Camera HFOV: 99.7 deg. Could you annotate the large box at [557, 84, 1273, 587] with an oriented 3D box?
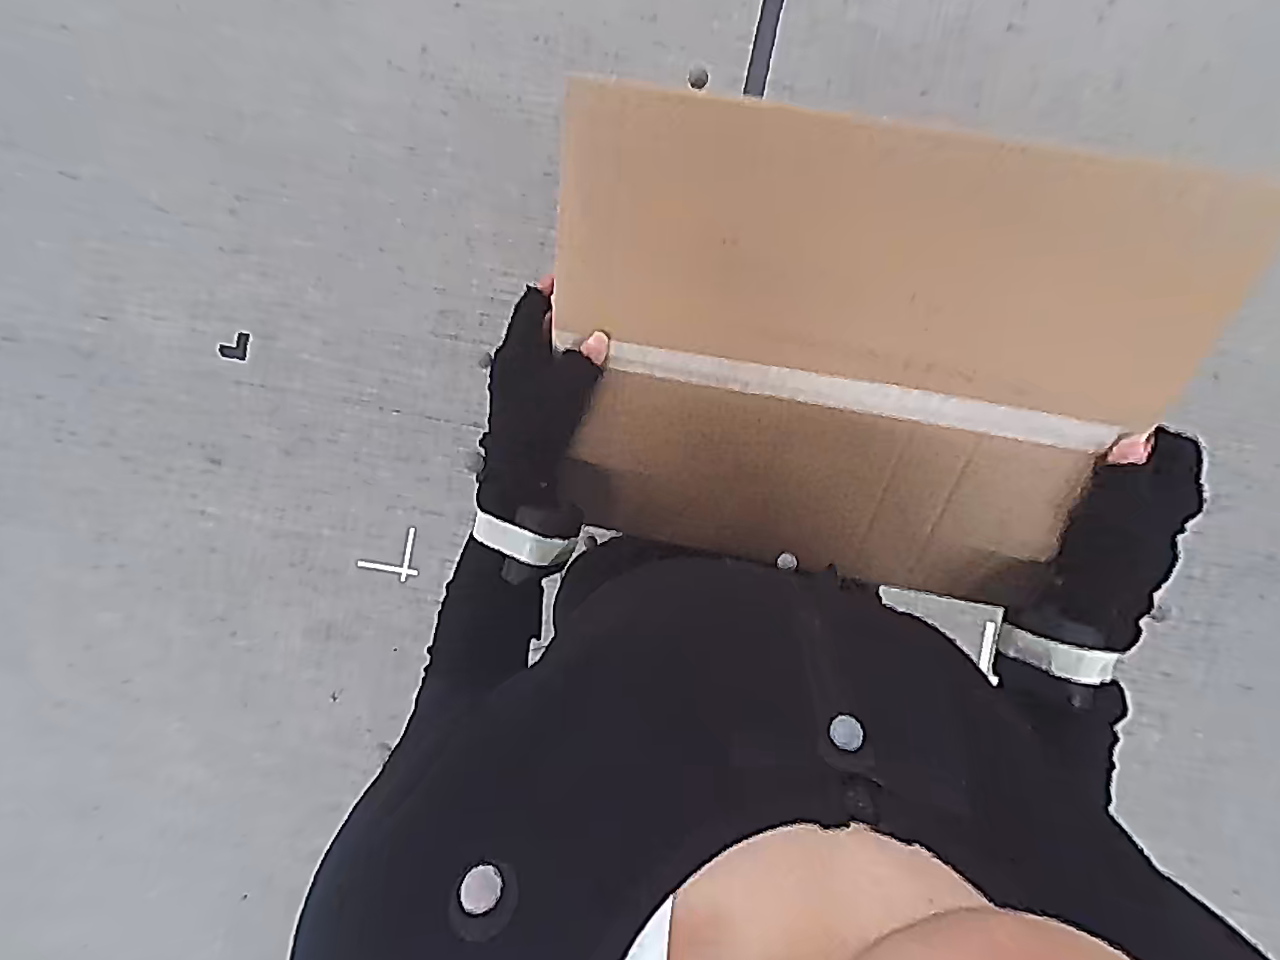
[{"bbox_3d":[0.157,-0.147,0.513,0.408,0.320,0.320,11,123,3],"label":"large box"}]
